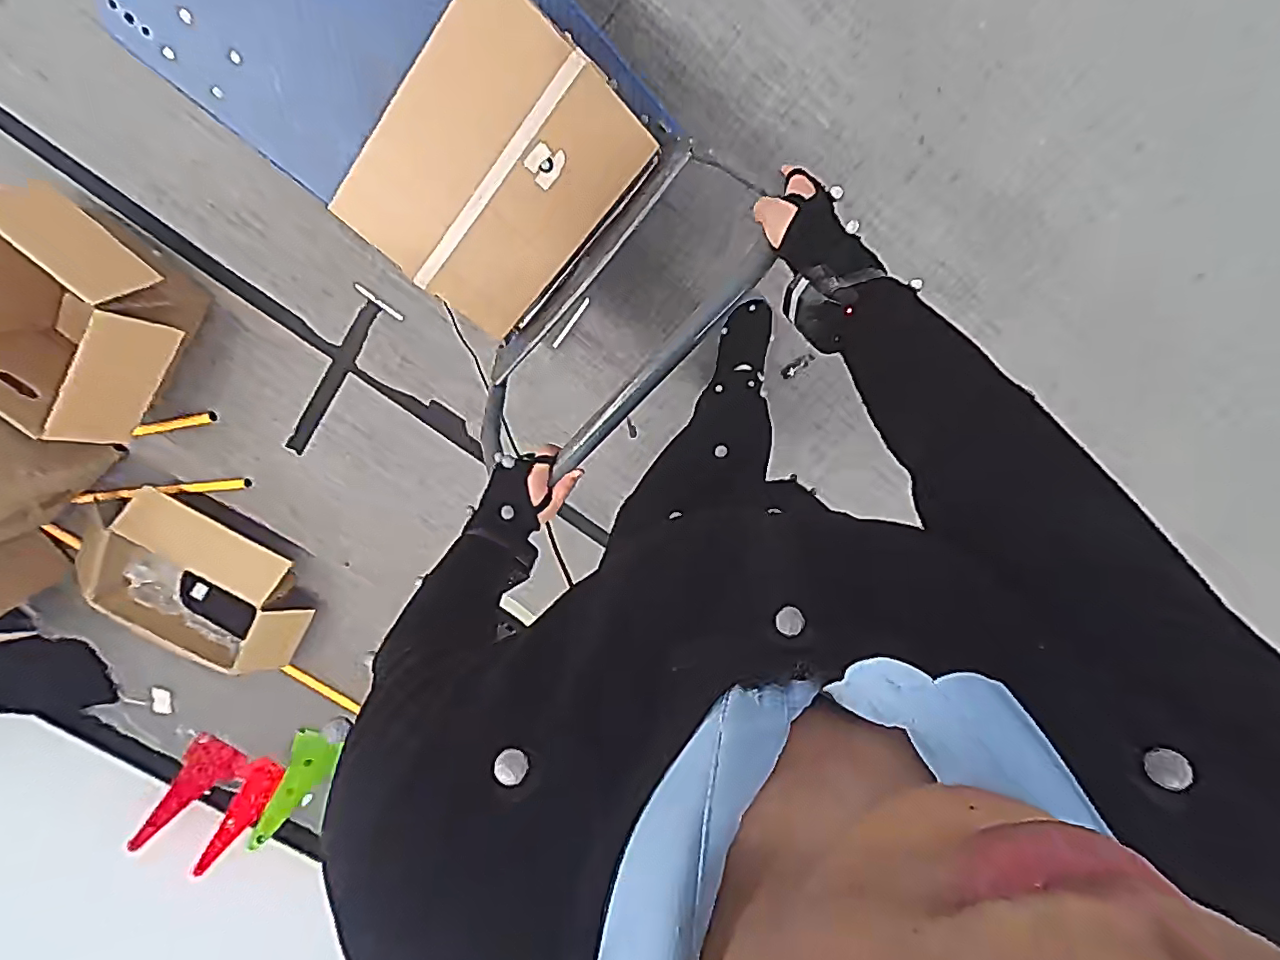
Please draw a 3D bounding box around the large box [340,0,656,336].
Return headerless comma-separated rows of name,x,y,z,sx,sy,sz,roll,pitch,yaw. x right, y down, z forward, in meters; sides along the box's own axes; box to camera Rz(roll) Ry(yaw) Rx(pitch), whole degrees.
large box,-0.231,-0.537,0.941,0.320,0.320,0.408,36,111,-26
